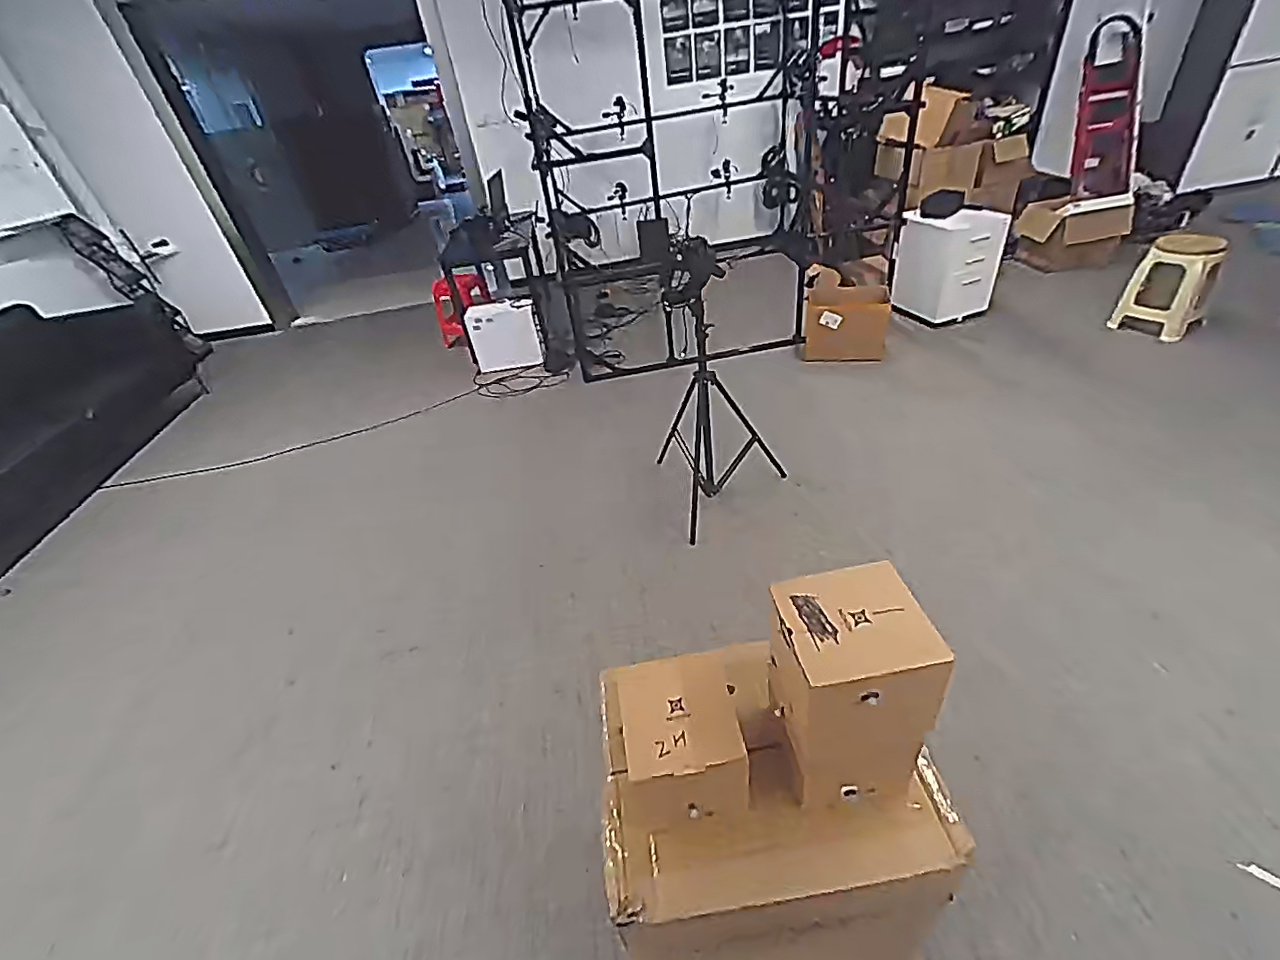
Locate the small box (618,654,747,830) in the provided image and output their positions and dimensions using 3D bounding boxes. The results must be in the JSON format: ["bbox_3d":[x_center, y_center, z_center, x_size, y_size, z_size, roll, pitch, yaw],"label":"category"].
[{"bbox_3d":[0.062,0.406,0.844,0.168,0.176,0.179,-10,37,-3],"label":"small box"}]

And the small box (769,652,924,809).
[{"bbox_3d":[0.304,0.372,0.839,0.168,0.176,0.179,-12,38,0],"label":"small box"}]

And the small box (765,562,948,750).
[{"bbox_3d":[0.281,0.242,0.740,0.179,0.176,0.168,-11,37,0],"label":"small box"}]
